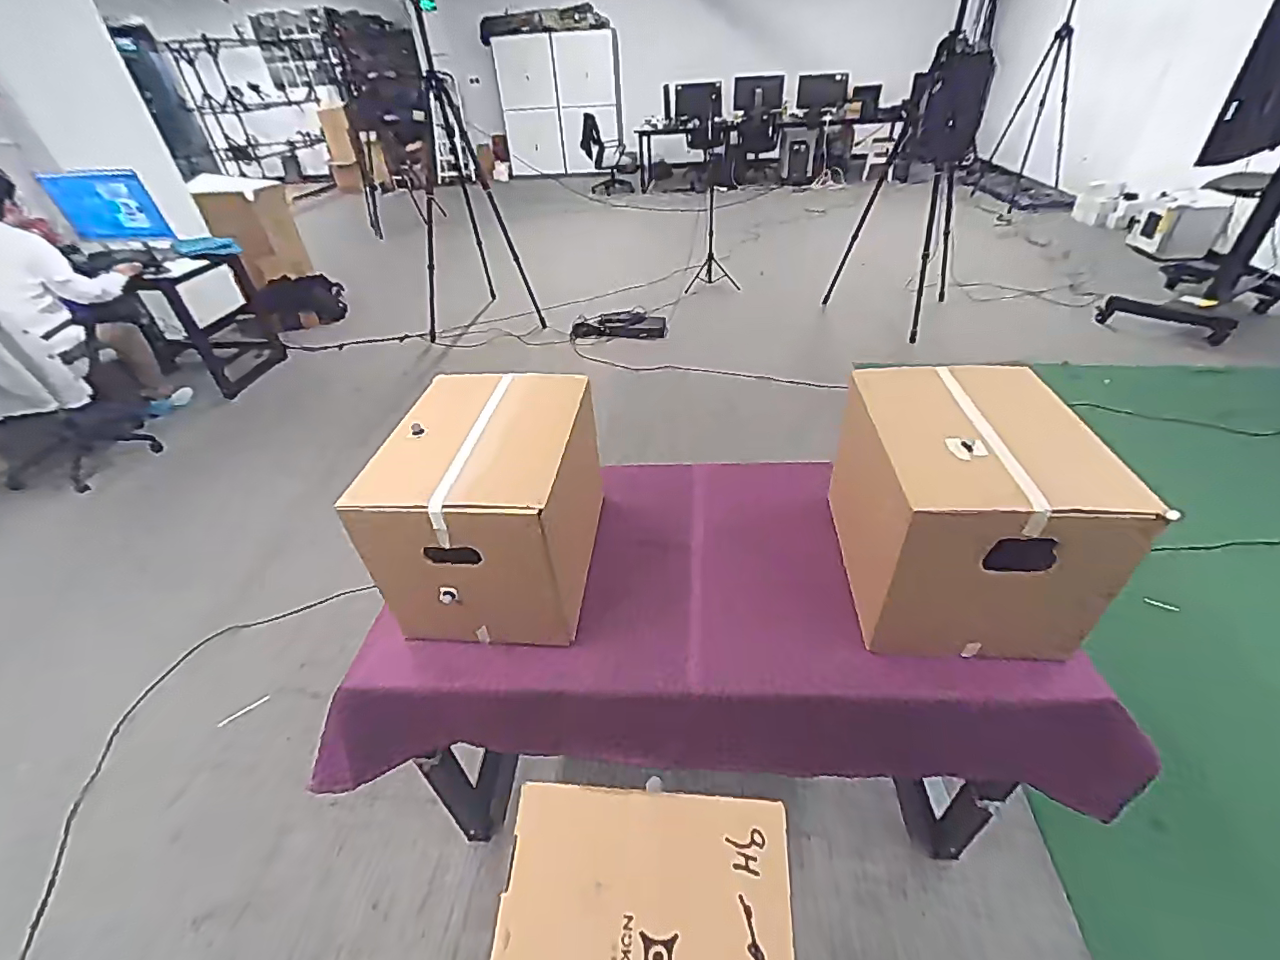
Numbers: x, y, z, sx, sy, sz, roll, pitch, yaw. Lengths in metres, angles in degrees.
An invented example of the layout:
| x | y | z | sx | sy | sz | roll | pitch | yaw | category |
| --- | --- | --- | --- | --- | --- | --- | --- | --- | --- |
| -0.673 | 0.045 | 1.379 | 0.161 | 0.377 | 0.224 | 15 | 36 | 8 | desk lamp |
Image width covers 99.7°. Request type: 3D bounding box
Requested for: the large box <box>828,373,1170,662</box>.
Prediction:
| x | y | z | sx | sy | sz | roll | pitch | yaw | category |
| --- | --- | --- | --- | --- | --- | --- | --- | --- | --- |
| 0.542 | 0.047 | 0.941 | 0.320 | 0.320 | 0.408 | 1 | 39 | 7 | large box |
